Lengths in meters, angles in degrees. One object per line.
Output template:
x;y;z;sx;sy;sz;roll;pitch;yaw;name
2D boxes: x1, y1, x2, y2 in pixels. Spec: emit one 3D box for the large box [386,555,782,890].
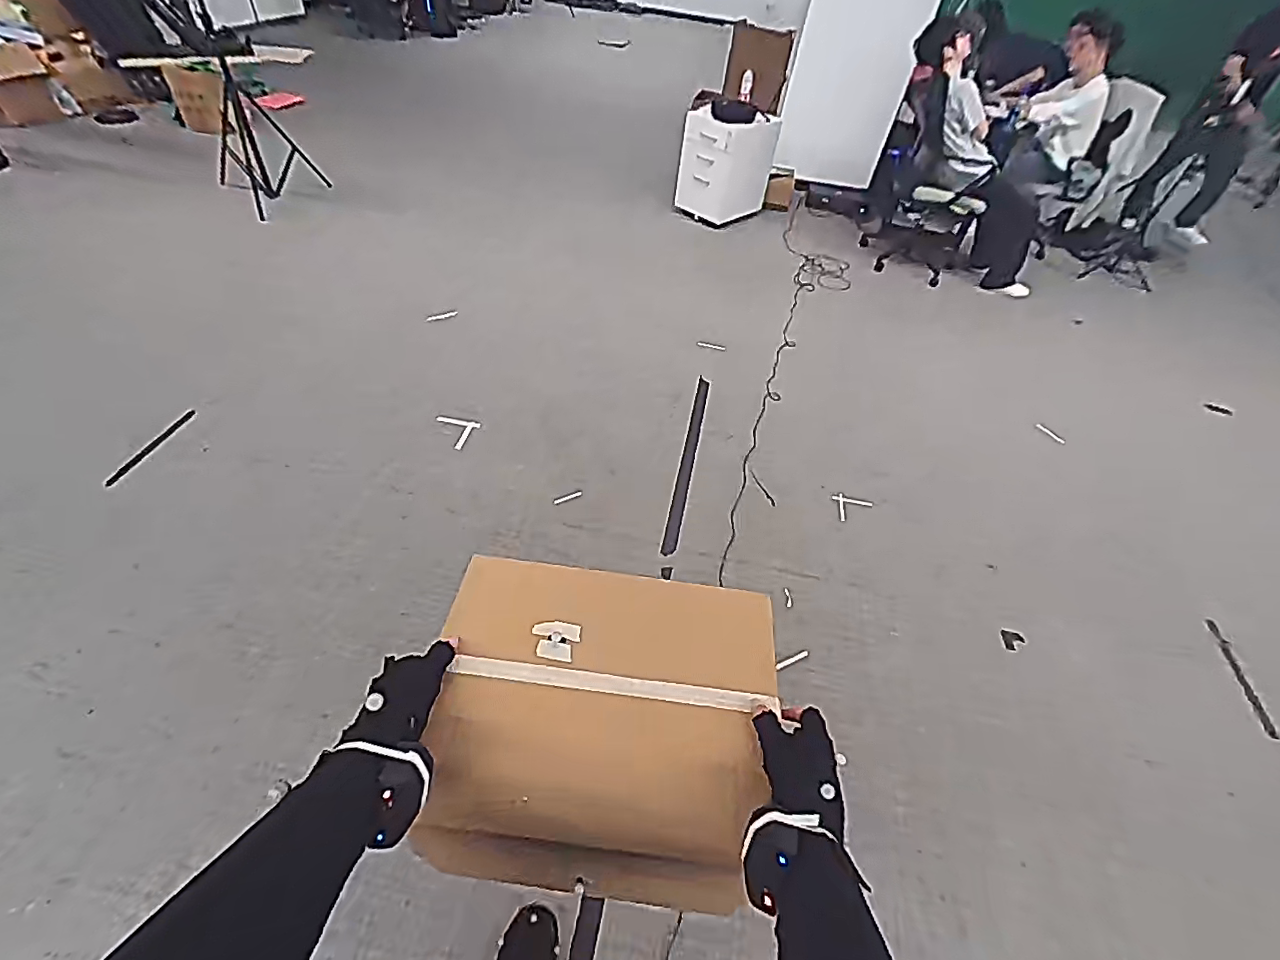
-0.051;0.335;0.742;0.408;0.320;0.320;7;45;1;large box
